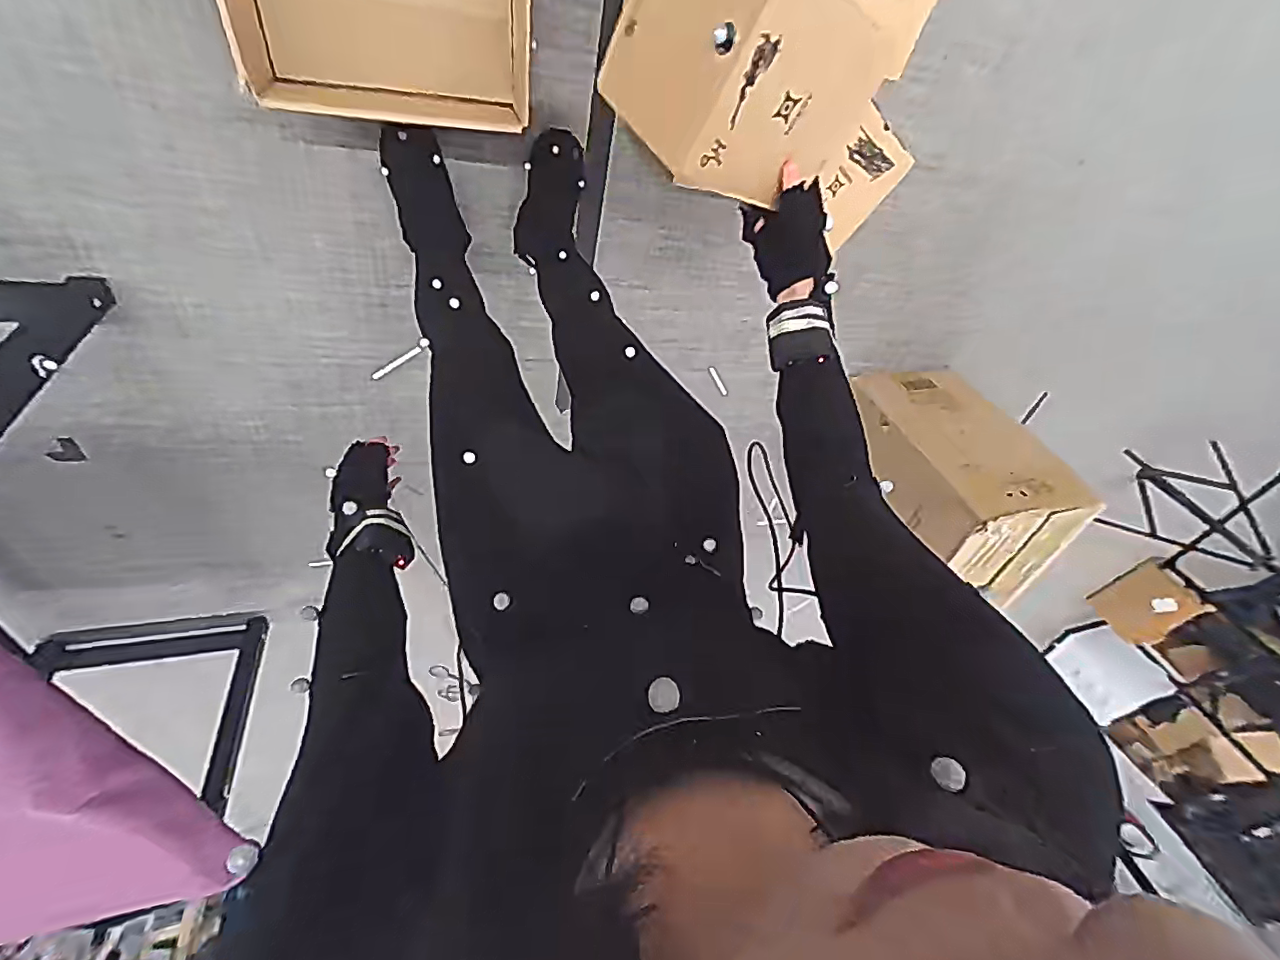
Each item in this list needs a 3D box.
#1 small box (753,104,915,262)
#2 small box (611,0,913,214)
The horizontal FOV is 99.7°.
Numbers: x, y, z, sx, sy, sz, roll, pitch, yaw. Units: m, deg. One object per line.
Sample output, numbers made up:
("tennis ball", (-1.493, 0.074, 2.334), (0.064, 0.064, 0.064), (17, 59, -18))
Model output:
("small box", (0.264, -0.479, 0.821), (0.168, 0.176, 0.179), (22, 123, -36))
("small box", (0.106, -0.389, 0.507), (0.179, 0.176, 0.168), (-7, 147, -41))
